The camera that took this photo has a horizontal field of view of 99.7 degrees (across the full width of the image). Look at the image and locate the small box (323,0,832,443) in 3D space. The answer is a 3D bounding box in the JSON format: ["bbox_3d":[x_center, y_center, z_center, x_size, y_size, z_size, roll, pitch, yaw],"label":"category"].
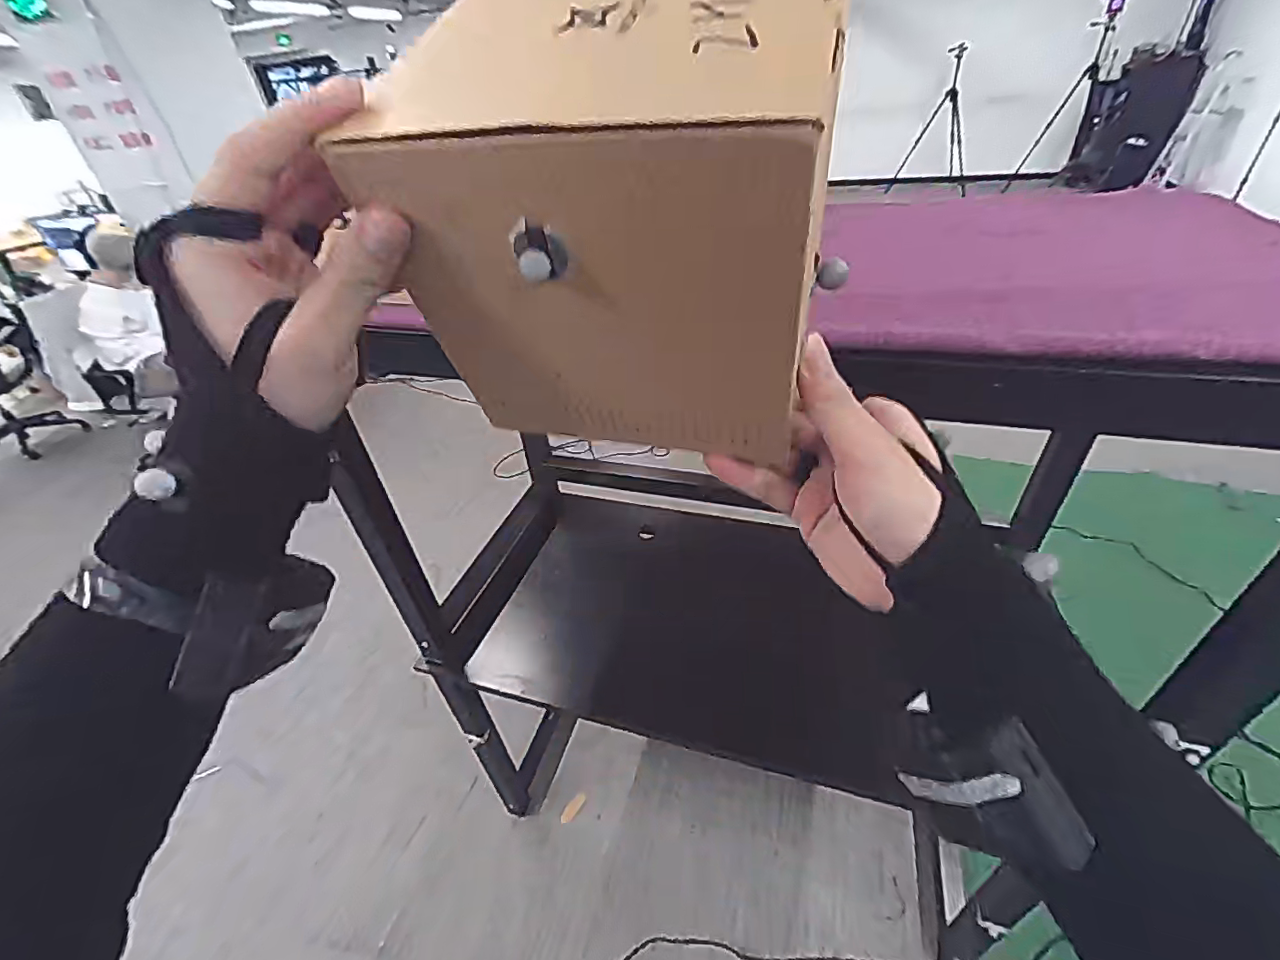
[{"bbox_3d":[-0.004,-0.135,0.282,0.179,0.176,0.168,8,61,16],"label":"small box"}]

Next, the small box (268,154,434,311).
[{"bbox_3d":[-0.303,-0.321,0.683,0.179,0.176,0.168,6,38,18],"label":"small box"}]
